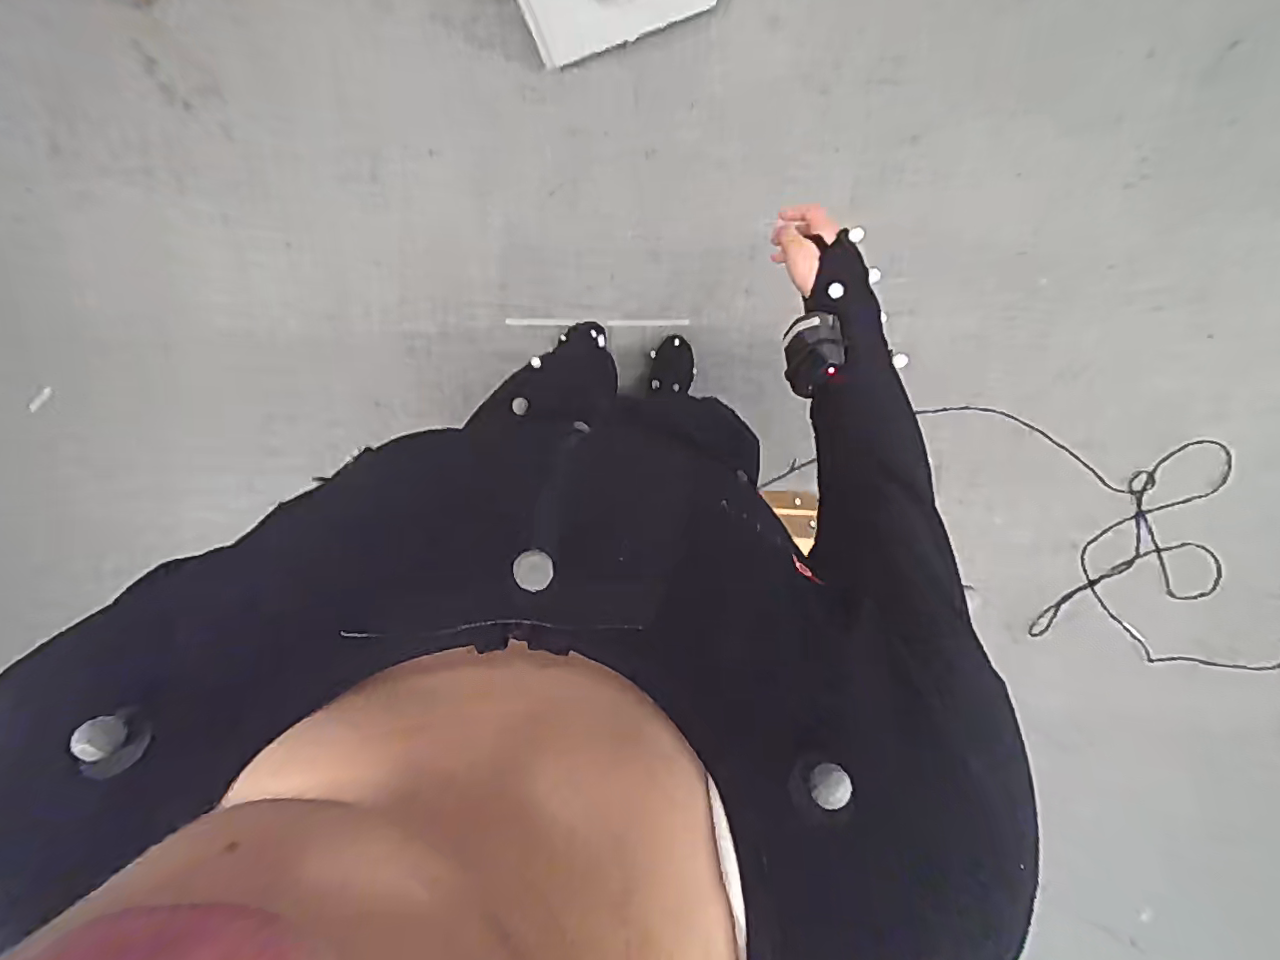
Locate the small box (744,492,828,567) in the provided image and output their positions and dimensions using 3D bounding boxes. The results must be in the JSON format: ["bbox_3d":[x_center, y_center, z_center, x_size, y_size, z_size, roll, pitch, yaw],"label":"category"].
[{"bbox_3d":[0.380,0.133,1.441,0.179,0.176,0.168,3,105,0],"label":"small box"}]
